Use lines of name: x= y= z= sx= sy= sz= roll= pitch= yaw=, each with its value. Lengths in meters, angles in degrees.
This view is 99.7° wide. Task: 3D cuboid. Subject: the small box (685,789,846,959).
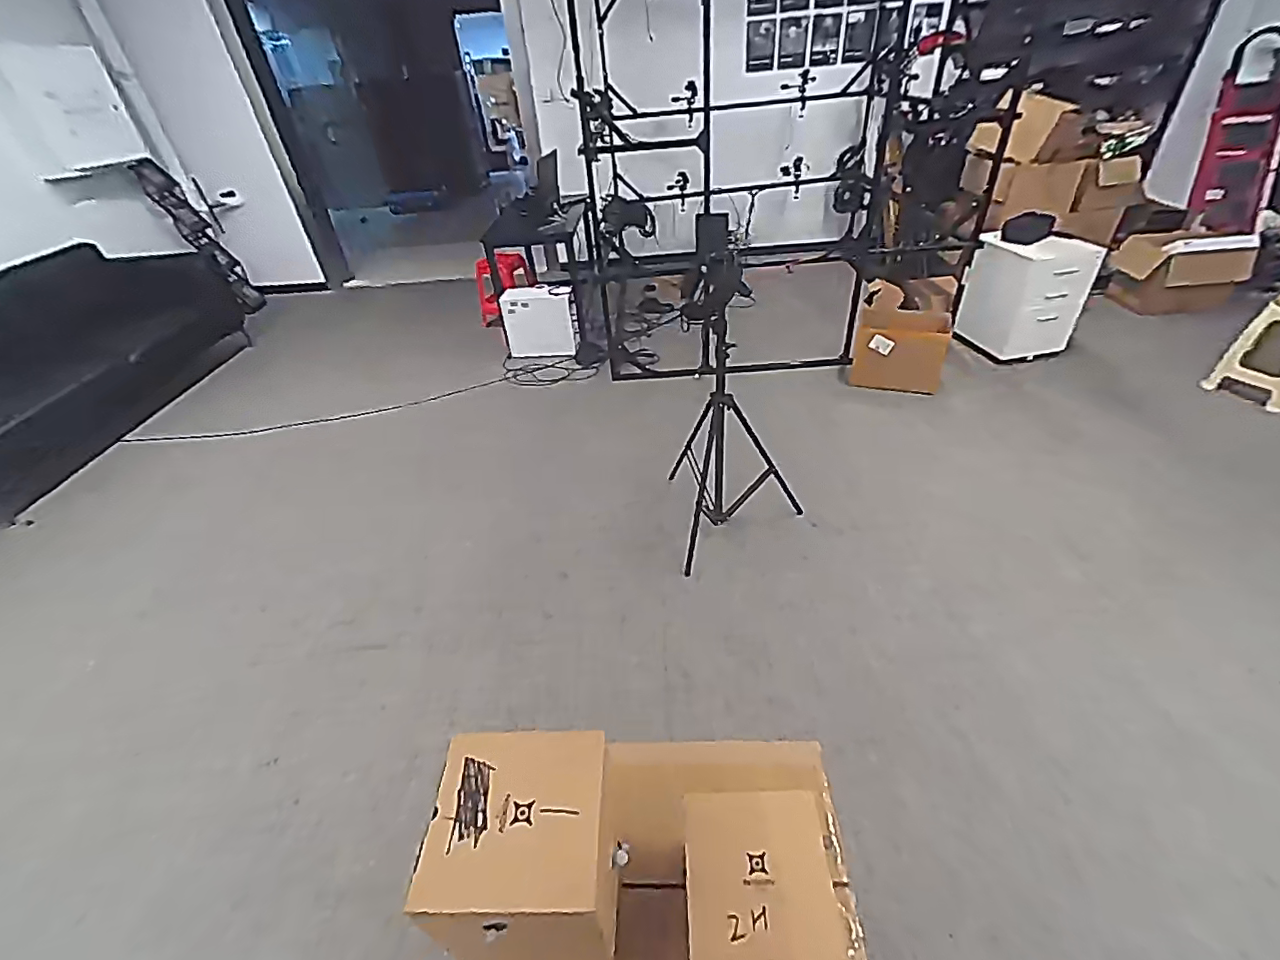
small box: x=0.143 y=0.515 z=0.676 sx=0.168 sy=0.176 sz=0.179 roll=-4 pitch=38 yaw=5

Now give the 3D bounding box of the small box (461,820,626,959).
small box: x=-0.109 y=0.525 z=0.701 sx=0.168 sy=0.176 sz=0.179 roll=-3 pitch=39 yaw=4

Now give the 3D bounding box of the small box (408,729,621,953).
small box: x=-0.119 y=0.398 z=0.598 sx=0.179 sy=0.176 sz=0.168 roll=-3 pitch=38 yaw=3
